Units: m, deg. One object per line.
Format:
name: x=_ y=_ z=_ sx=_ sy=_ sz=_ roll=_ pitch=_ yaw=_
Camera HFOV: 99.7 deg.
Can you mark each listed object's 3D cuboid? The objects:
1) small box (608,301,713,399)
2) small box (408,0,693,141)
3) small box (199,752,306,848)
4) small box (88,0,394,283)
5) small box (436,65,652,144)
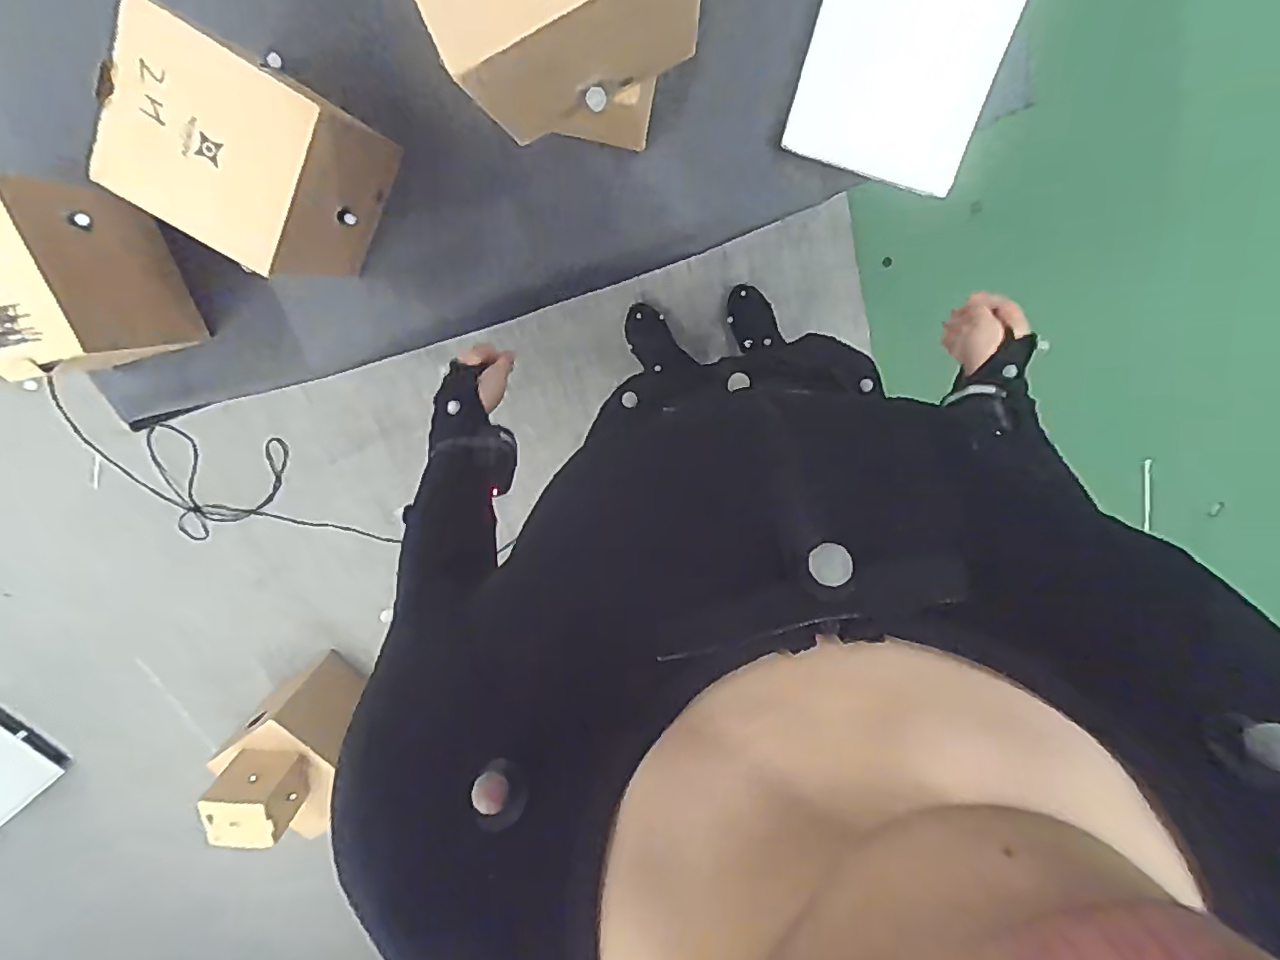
small box: x=0.054 y=-0.310 z=1.310 sx=0.176 sy=0.168 sz=0.179 roll=17 pitch=89 yaw=-35
small box: x=-0.071 y=-0.367 z=0.358 sx=0.168 sy=0.176 sz=0.179 roll=-21 pitch=108 yaw=11
small box: x=-1.059 y=0.882 z=1.500 sx=0.179 sy=0.176 sz=0.168 roll=3 pitch=110 yaw=-1
small box: x=-0.392 y=-0.327 z=0.561 sx=0.179 sy=0.176 sz=0.168 roll=30 pitch=108 yaw=-8
small box: x=-0.070 y=-0.437 z=0.508 sx=0.179 sy=0.176 sz=0.168 roll=11 pitch=110 yaw=-1
